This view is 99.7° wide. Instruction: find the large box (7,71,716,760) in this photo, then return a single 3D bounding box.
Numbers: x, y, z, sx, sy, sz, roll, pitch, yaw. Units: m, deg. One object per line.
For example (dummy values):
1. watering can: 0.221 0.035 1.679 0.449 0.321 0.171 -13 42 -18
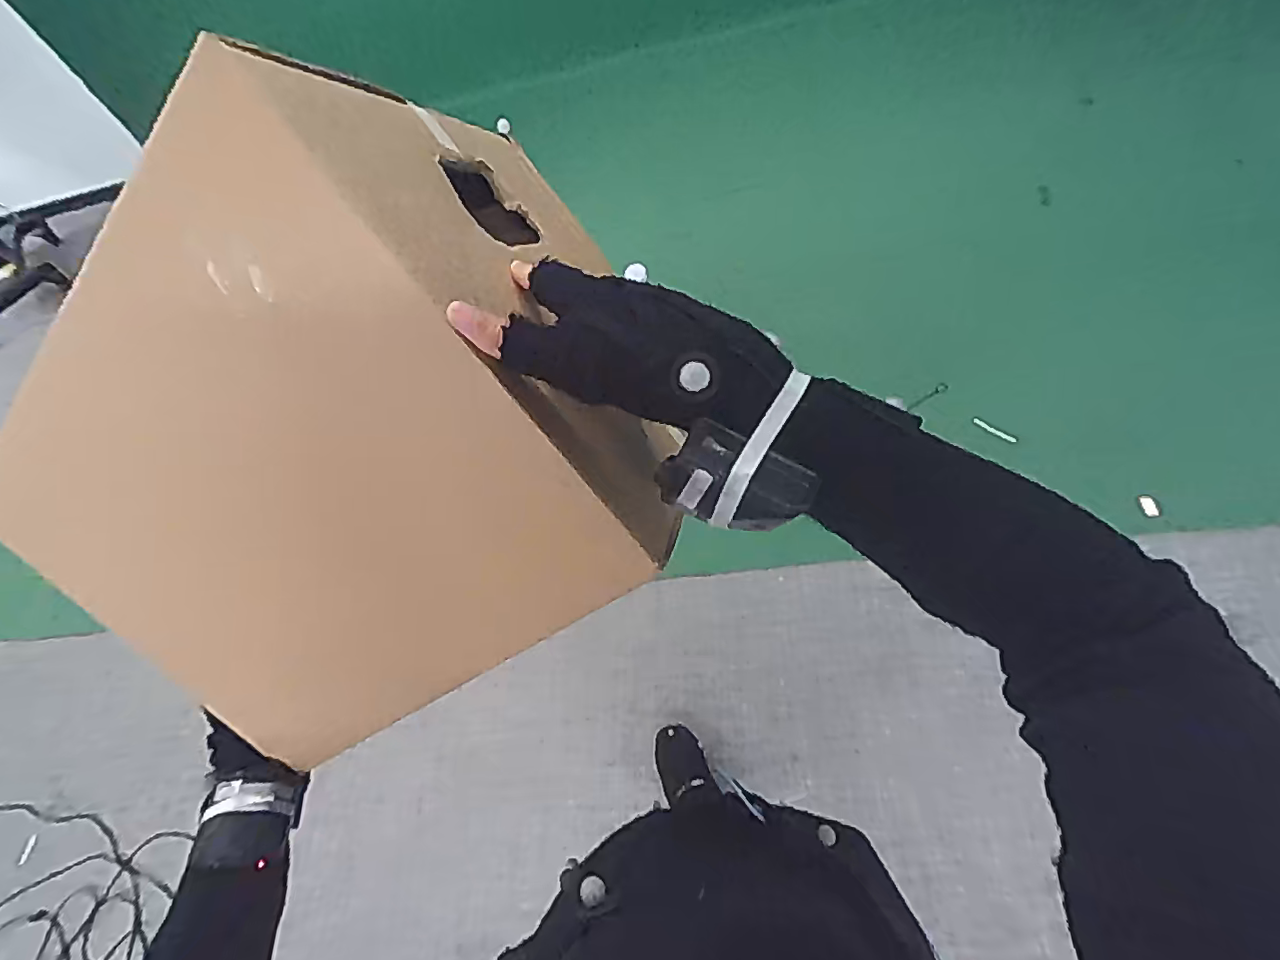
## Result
1. large box: -0.191 -0.029 0.483 0.408 0.320 0.320 -33 14 24
